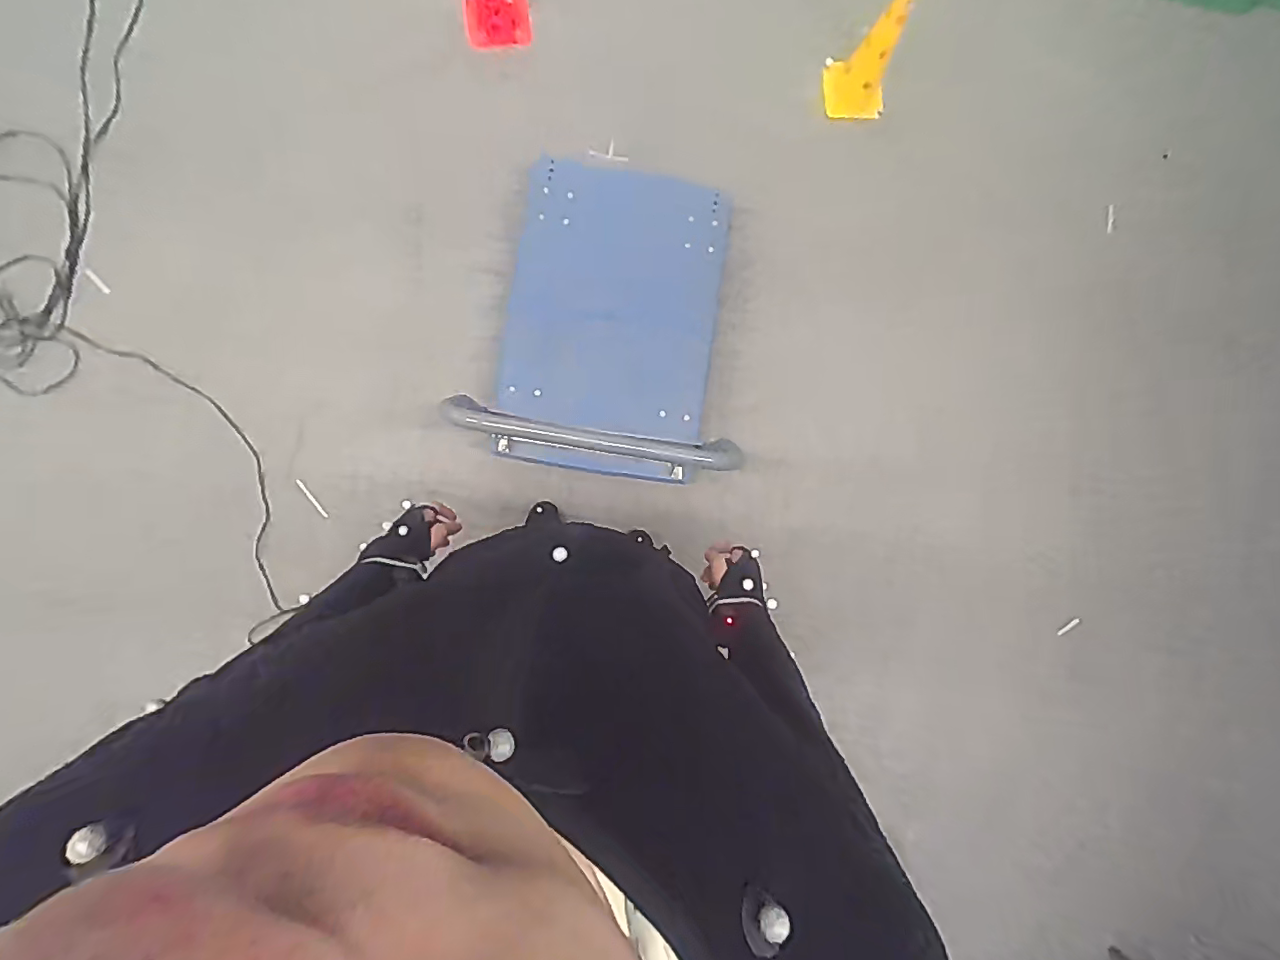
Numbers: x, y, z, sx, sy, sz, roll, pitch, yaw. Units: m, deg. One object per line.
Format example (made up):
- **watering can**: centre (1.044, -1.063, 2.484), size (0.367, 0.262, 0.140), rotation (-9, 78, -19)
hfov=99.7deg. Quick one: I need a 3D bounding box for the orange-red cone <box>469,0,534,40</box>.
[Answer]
- **orange-red cone**: centre (-0.429, -1.504, 1.546), size (0.199, 0.360, 0.198), rotation (-6, 86, -4)
